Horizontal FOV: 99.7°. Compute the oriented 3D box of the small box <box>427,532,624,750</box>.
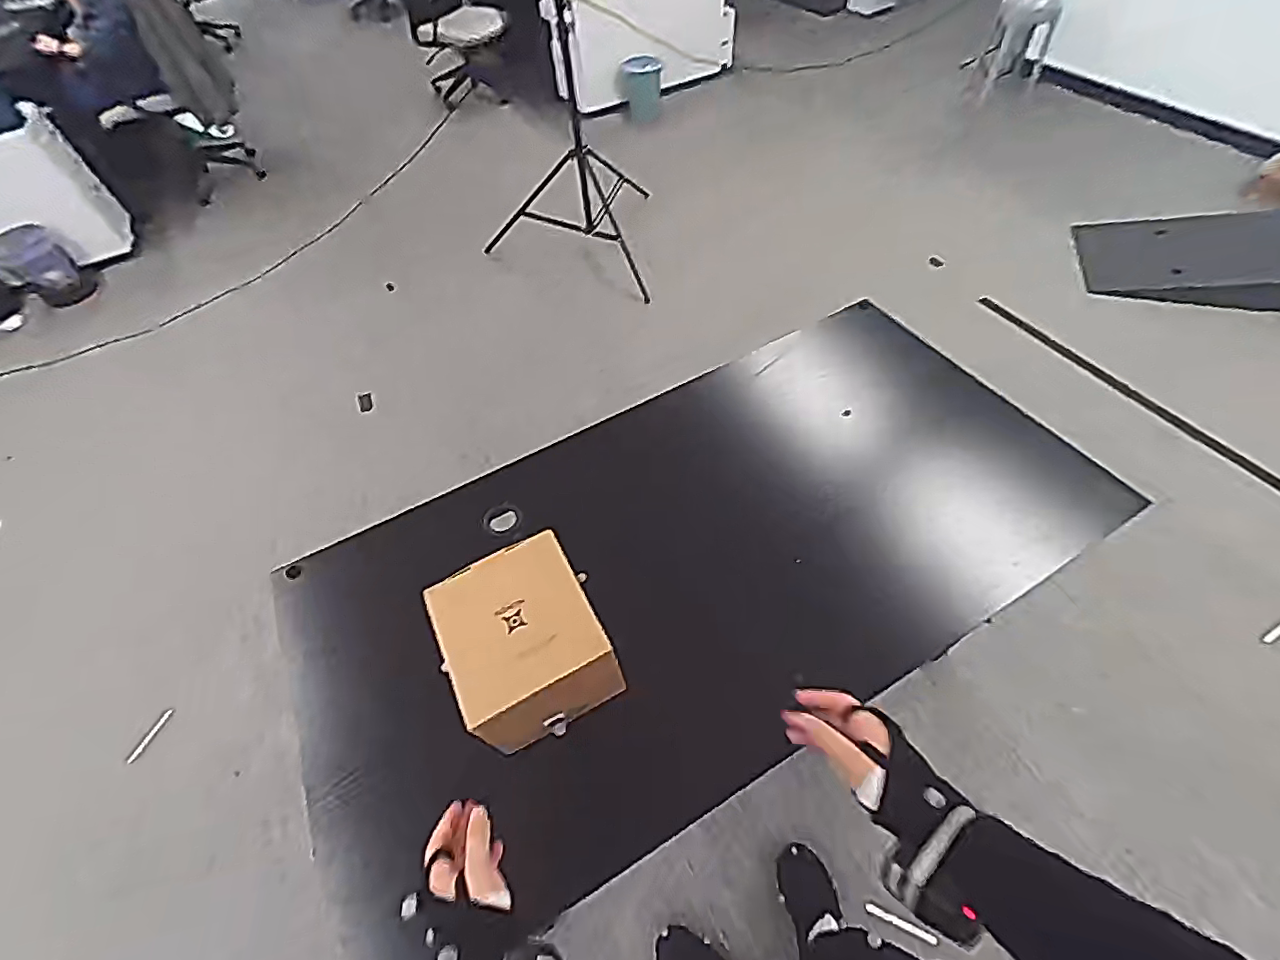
[{"bbox_3d":[-0.134,0.203,0.669,0.168,0.176,0.179,-27,58,-13],"label":"small box"}]
